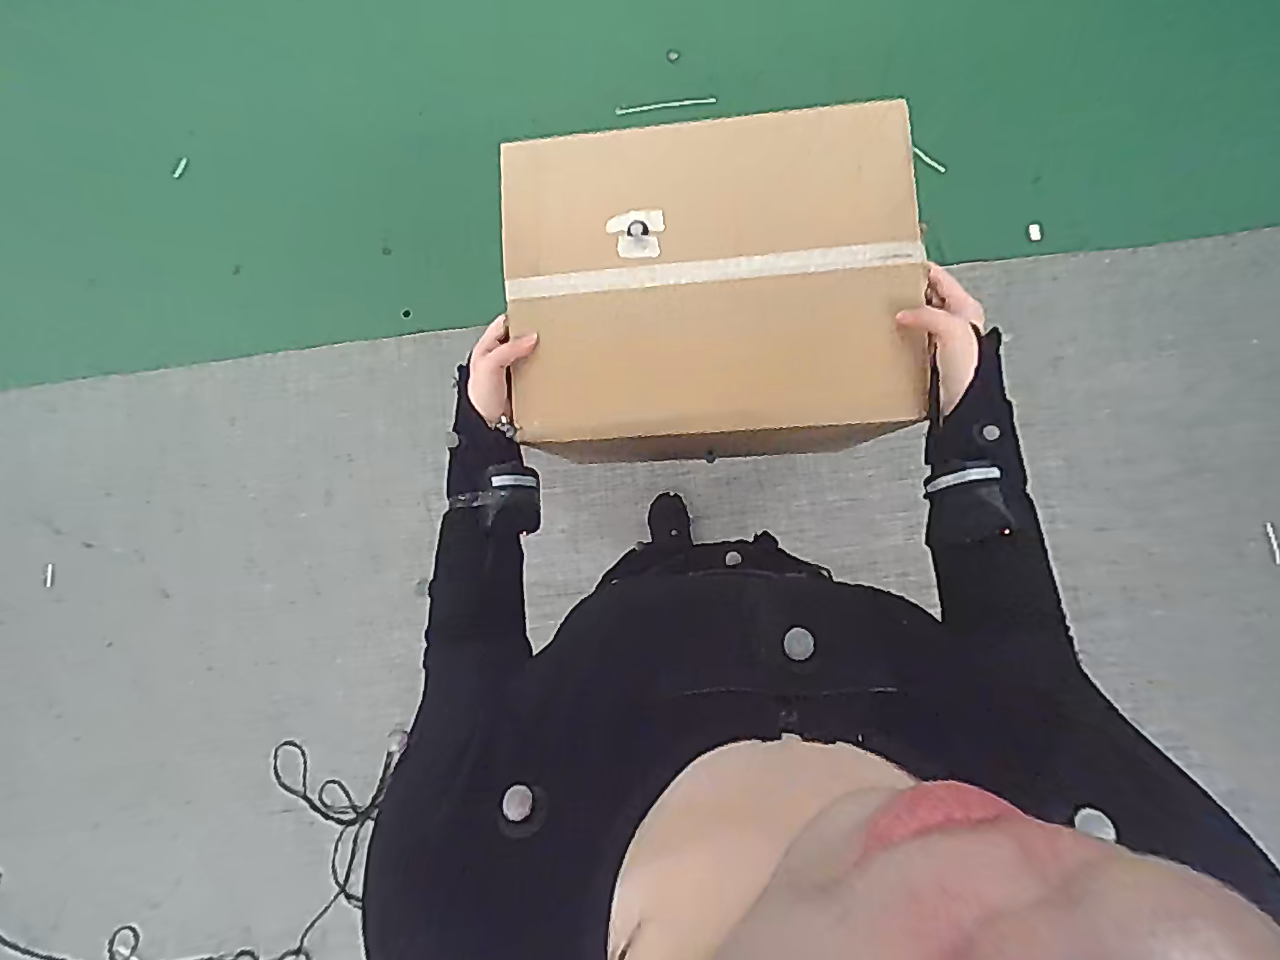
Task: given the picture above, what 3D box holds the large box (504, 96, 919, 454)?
[{"bbox_3d":[0.081,-0.206,0.690,0.408,0.320,0.320,-3,87,7],"label":"large box"}]
